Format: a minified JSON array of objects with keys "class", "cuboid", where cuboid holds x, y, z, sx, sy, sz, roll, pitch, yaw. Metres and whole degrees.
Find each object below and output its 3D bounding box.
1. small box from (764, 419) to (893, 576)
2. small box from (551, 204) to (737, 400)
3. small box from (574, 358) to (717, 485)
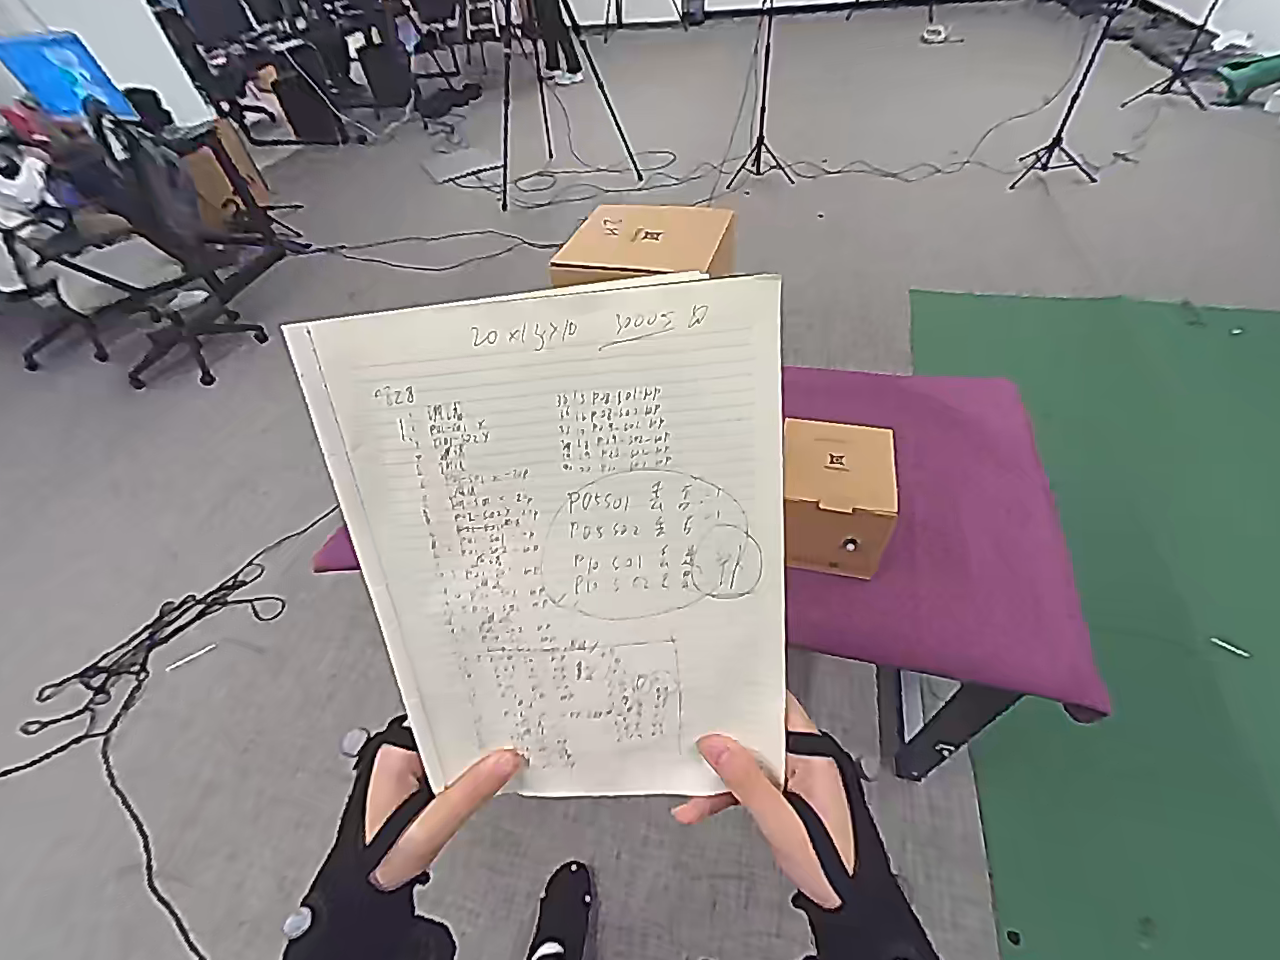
[{"class":"small box","cuboid":[0.295,0.029,0.863,0.168,0.176,0.179,9,49,13]},{"class":"small box","cuboid":[0.015,-0.219,0.671,0.179,0.176,0.168,10,49,15]},{"class":"small box","cuboid":[0.020,-0.113,0.798,0.168,0.176,0.179,9,49,13]}]
